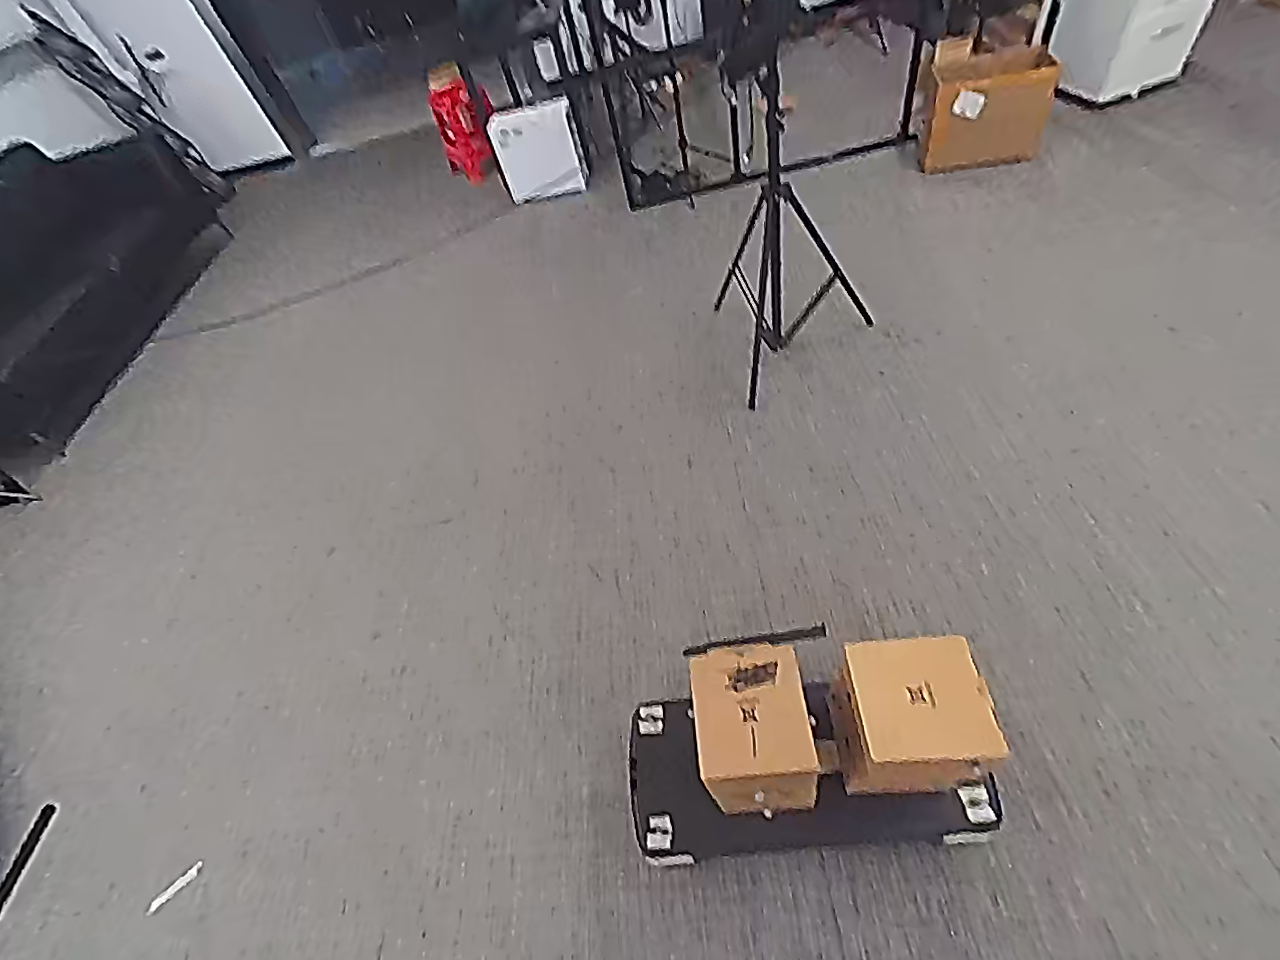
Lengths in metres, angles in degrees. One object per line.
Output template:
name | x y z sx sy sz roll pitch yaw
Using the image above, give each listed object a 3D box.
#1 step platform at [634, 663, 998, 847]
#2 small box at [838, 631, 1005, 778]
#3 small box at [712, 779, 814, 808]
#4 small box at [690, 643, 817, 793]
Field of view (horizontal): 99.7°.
step platform | 0.329 0.558 1.118 0.684 0.204 0.286 -11 51 8
small box | 0.409 0.347 0.825 0.179 0.176 0.168 -8 52 9
small box | 0.212 0.482 0.984 0.168 0.176 0.179 -9 51 9
small box | 0.176 0.381 0.859 0.168 0.176 0.179 -9 51 8
